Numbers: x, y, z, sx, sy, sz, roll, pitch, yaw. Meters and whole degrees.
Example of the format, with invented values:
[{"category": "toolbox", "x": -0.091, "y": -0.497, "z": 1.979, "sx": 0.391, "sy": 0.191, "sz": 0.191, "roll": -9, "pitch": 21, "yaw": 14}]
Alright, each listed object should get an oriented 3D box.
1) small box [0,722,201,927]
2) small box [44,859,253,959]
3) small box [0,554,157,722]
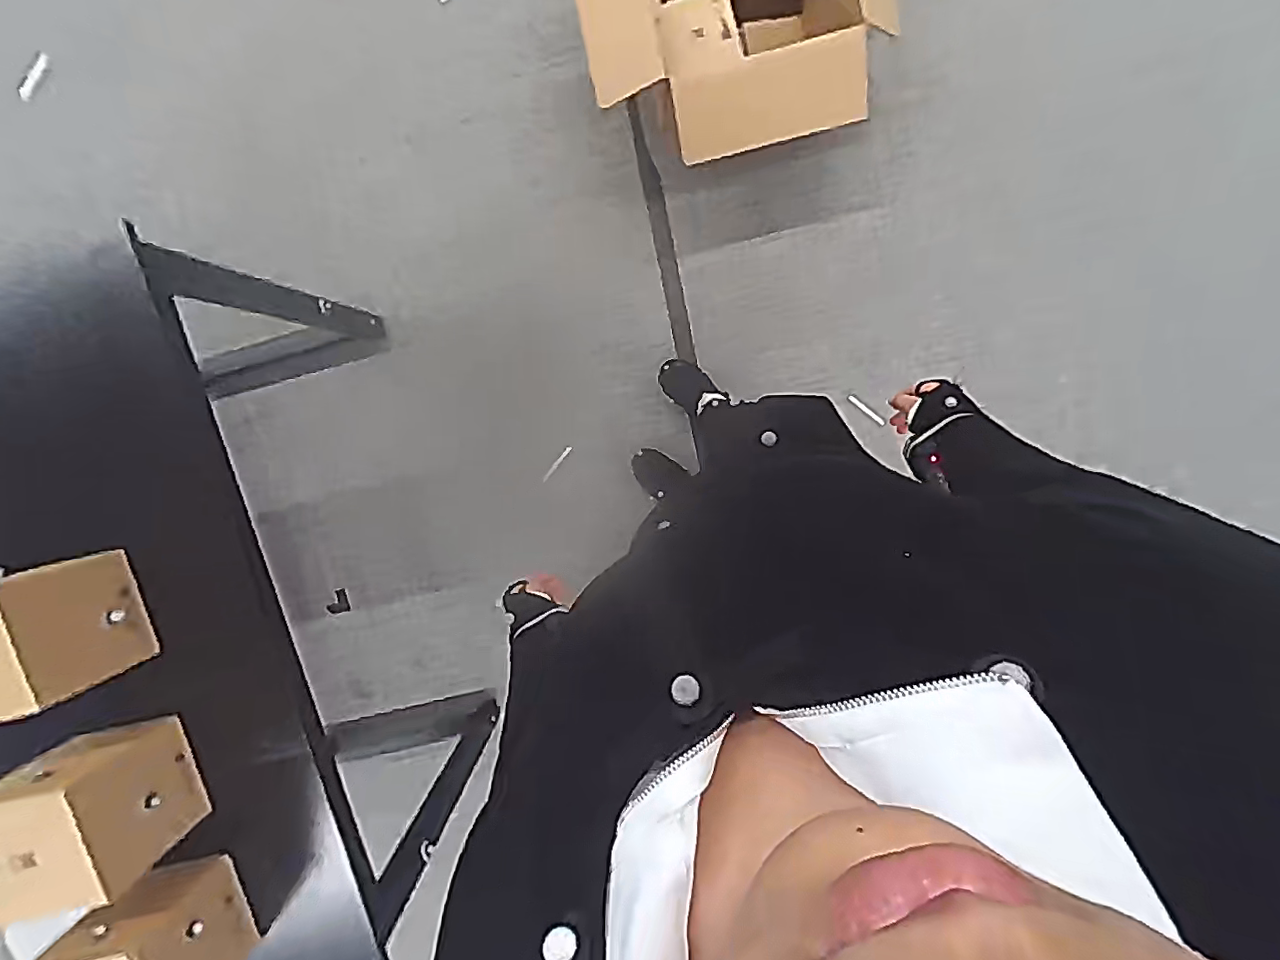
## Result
[{"category": "small box", "x": -0.771, "y": 0.470, "z": 0.761, "sx": 0.179, "sy": 0.176, "sz": 0.168, "roll": -13, "pitch": 97, "yaw": 3}, {"category": "small box", "x": -0.715, "y": 0.700, "z": 0.793, "sx": 0.179, "sy": 0.176, "sz": 0.168, "roll": -14, "pitch": 96, "yaw": 4}, {"category": "small box", "x": -0.825, "y": 0.212, "z": 0.728, "sx": 0.179, "sy": 0.176, "sz": 0.168, "roll": -13, "pitch": 97, "yaw": 3}]
